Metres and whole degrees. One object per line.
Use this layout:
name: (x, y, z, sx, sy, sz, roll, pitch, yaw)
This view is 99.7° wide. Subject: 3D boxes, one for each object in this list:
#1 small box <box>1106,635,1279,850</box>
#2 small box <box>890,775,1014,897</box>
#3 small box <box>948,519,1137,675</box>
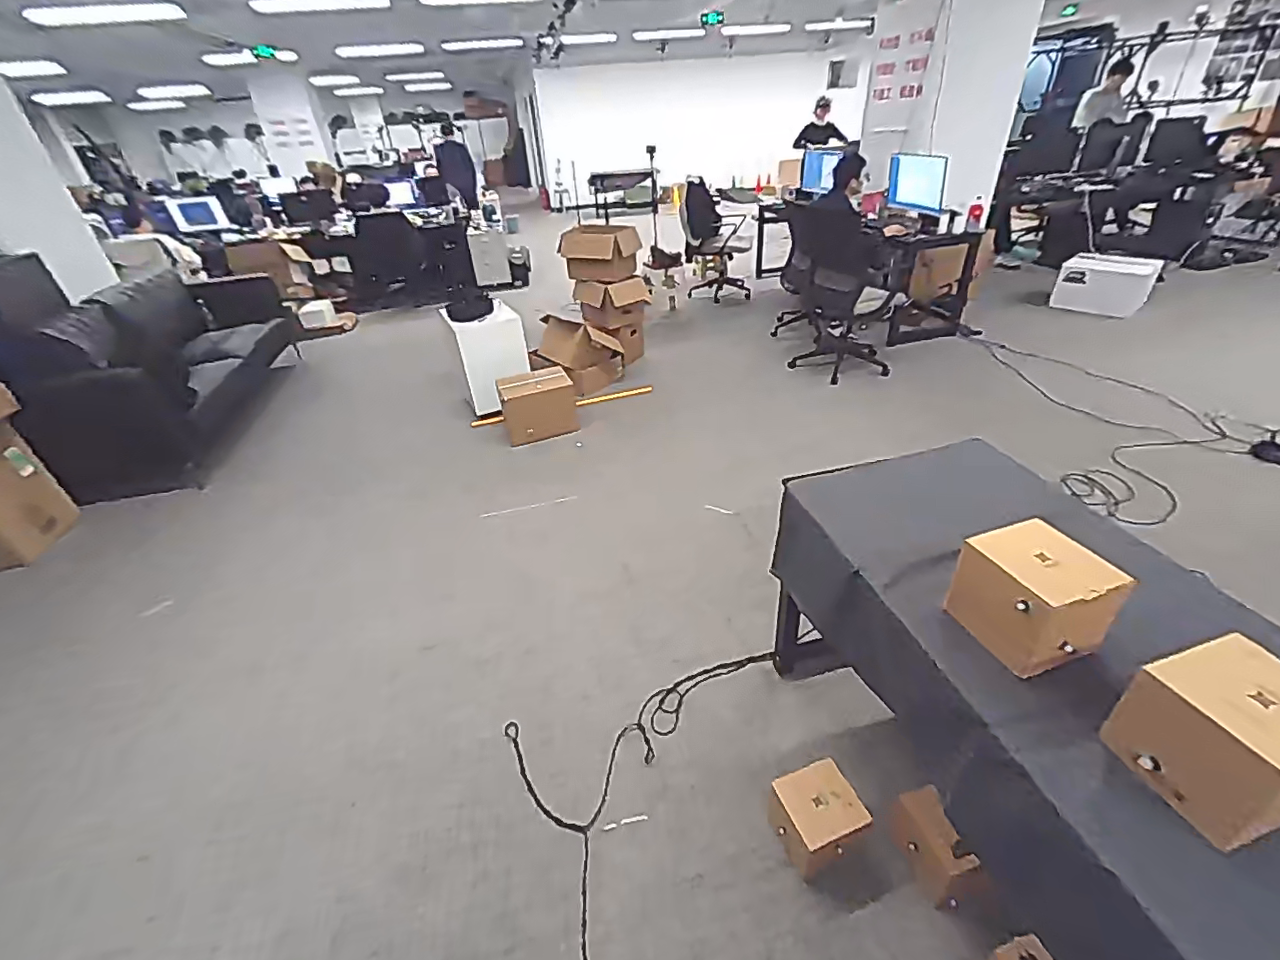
small box: (0.774, 0.339, 0.706, 0.179, 0.176, 0.168, -12, 34, -11)
small box: (0.720, 0.840, 1.269, 0.168, 0.176, 0.179, -12, 34, -10)
small box: (0.671, 0.197, 0.928, 0.168, 0.176, 0.179, -13, 35, -13)
